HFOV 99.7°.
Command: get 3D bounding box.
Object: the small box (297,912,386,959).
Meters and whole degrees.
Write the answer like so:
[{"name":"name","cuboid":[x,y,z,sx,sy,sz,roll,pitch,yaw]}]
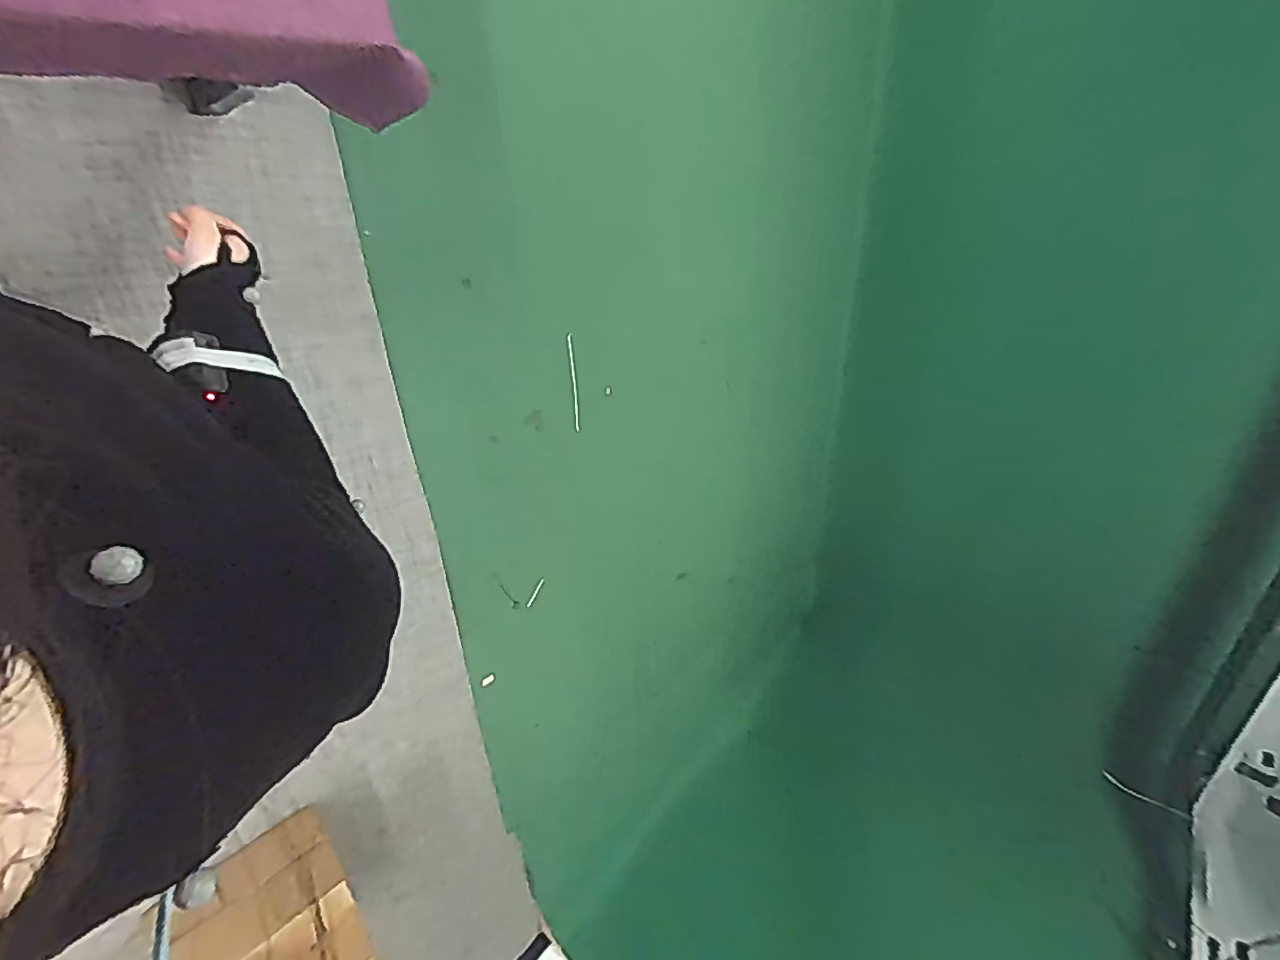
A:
[{"name":"small box","cuboid":[-0.795,1.325,1.457,0.168,0.176,0.179,-24,126,-42]}]
